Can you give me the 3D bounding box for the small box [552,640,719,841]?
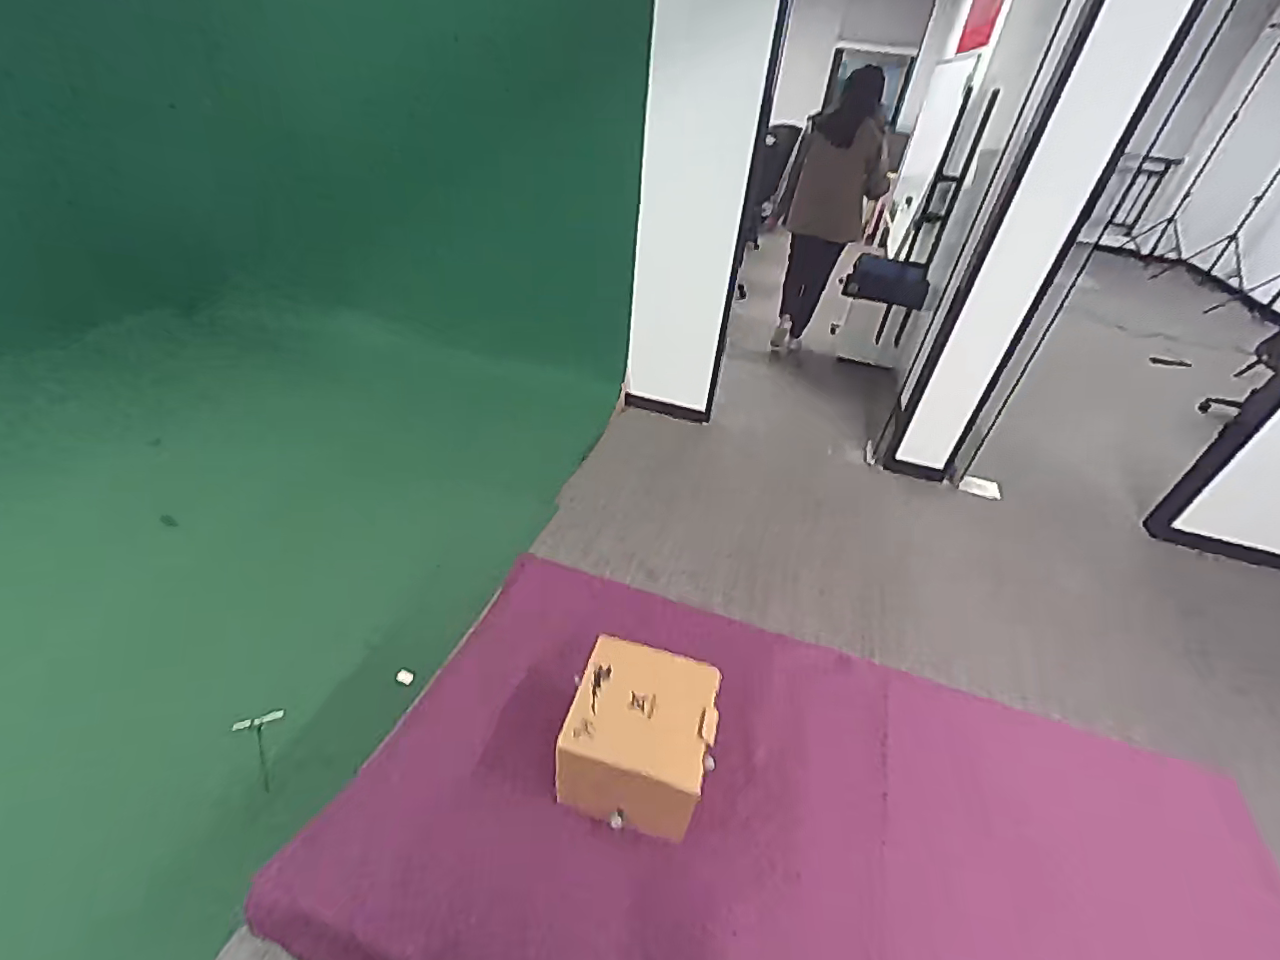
[{"bbox_3d":[-0.006,0.355,0.734,0.179,0.176,0.168,14,39,10],"label":"small box"}]
